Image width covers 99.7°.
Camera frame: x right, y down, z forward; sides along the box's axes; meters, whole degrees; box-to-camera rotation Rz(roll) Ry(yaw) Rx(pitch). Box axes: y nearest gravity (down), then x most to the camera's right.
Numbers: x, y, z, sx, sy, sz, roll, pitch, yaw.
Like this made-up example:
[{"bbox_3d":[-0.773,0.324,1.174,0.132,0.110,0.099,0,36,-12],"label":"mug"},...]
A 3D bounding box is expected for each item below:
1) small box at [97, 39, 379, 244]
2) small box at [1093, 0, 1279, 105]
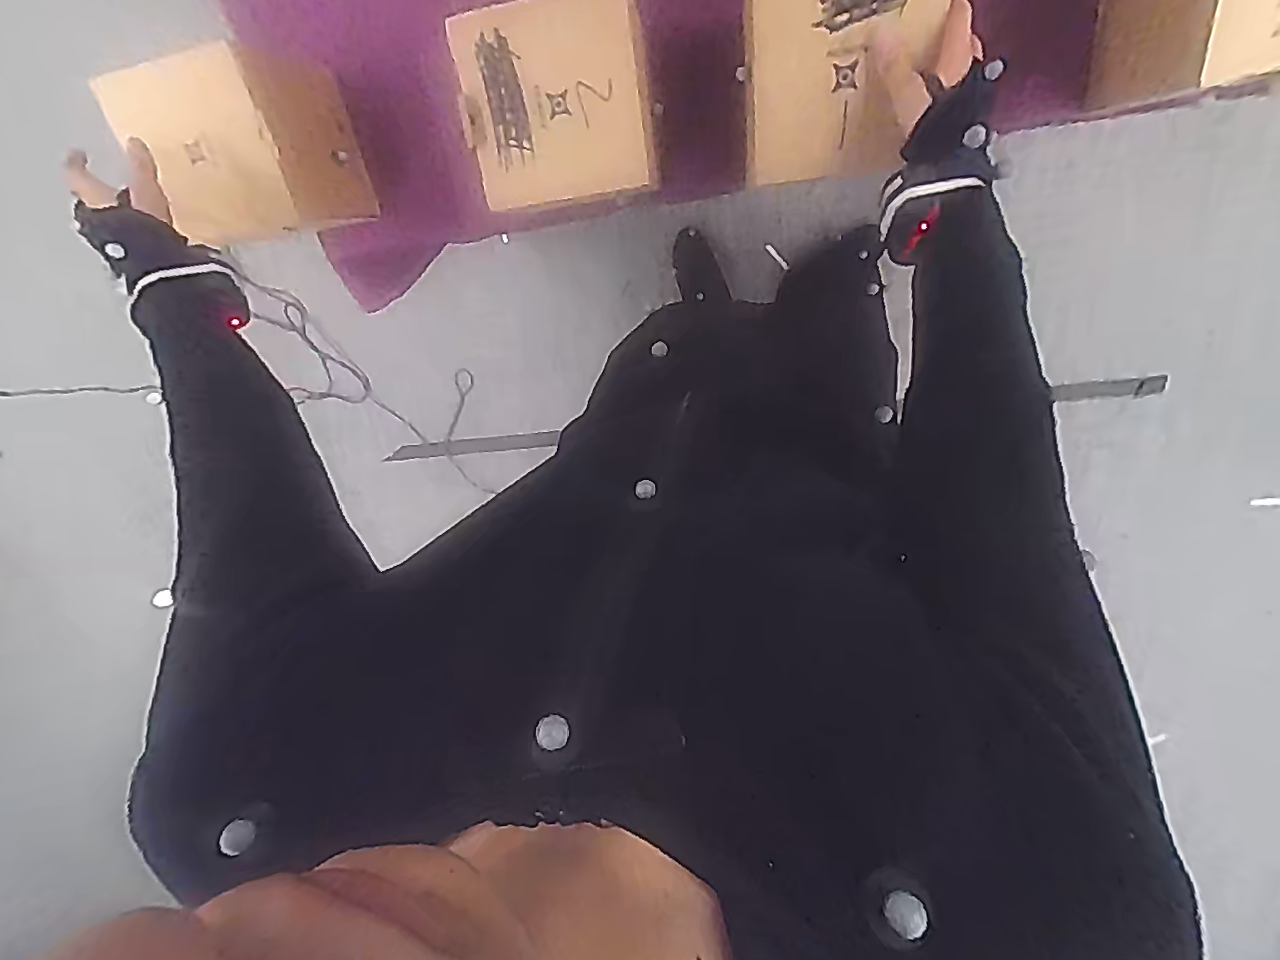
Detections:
[{"bbox_3d":[-0.459,-0.389,0.651,0.179,0.176,0.168,-7,116,10],"label":"small box"},{"bbox_3d":[0.546,-0.461,0.473,0.168,0.176,0.179,-6,116,12],"label":"small box"}]
